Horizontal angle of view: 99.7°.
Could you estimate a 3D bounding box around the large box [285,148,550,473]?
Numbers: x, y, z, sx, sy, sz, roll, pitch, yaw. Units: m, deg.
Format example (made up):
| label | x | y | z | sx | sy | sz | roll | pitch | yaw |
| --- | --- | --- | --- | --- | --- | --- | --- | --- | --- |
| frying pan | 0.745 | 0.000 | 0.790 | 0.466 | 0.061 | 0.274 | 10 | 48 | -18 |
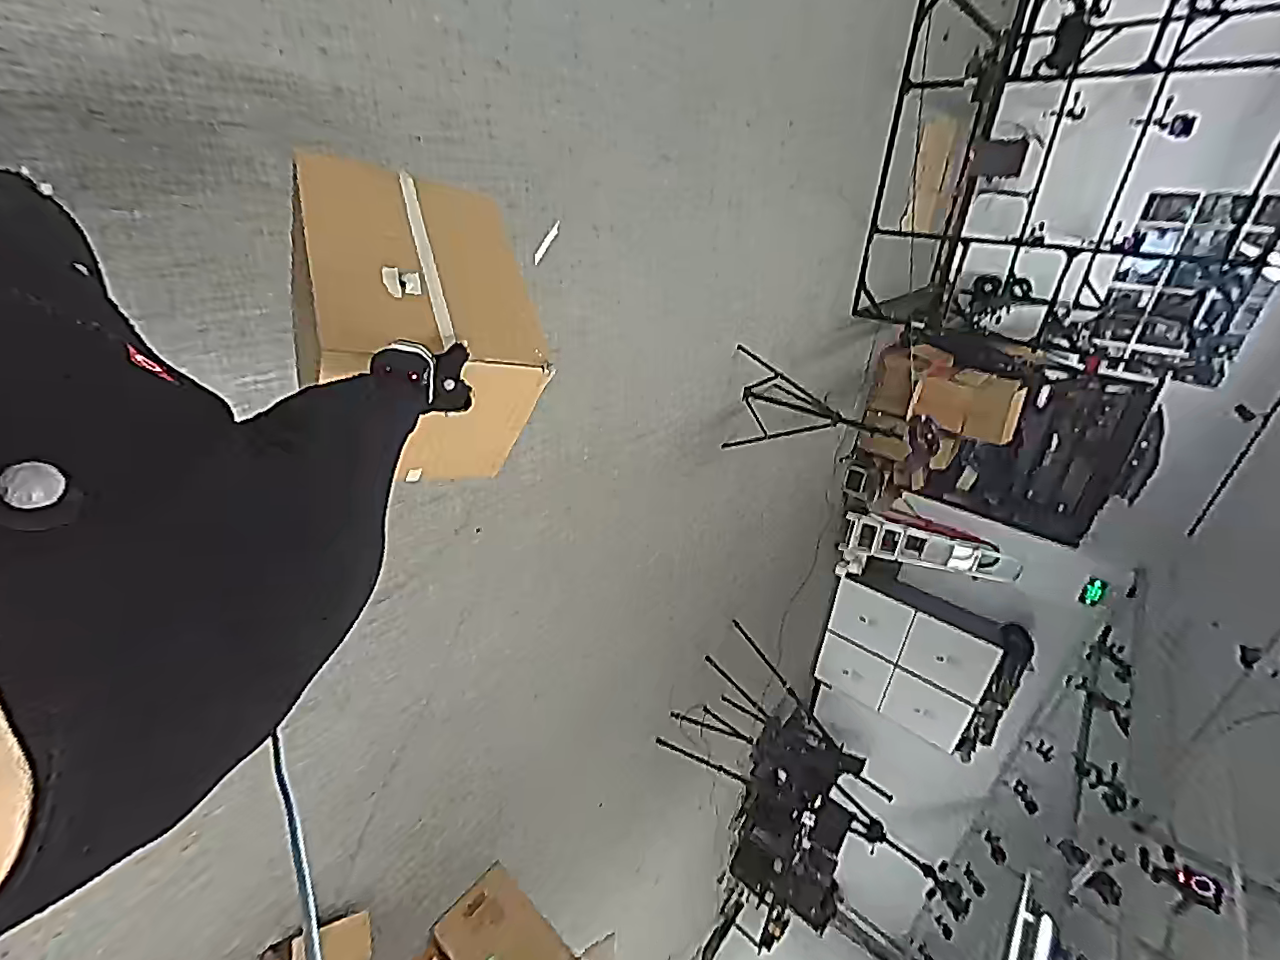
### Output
| label | x | y | z | sx | sy | sz | roll | pitch | yaw |
| --- | --- | --- | --- | --- | --- | --- | --- | --- | --- |
| large box | -0.405 | -0.264 | 0.933 | 0.320 | 0.408 | 0.320 | -5 | 154 | -36 |
